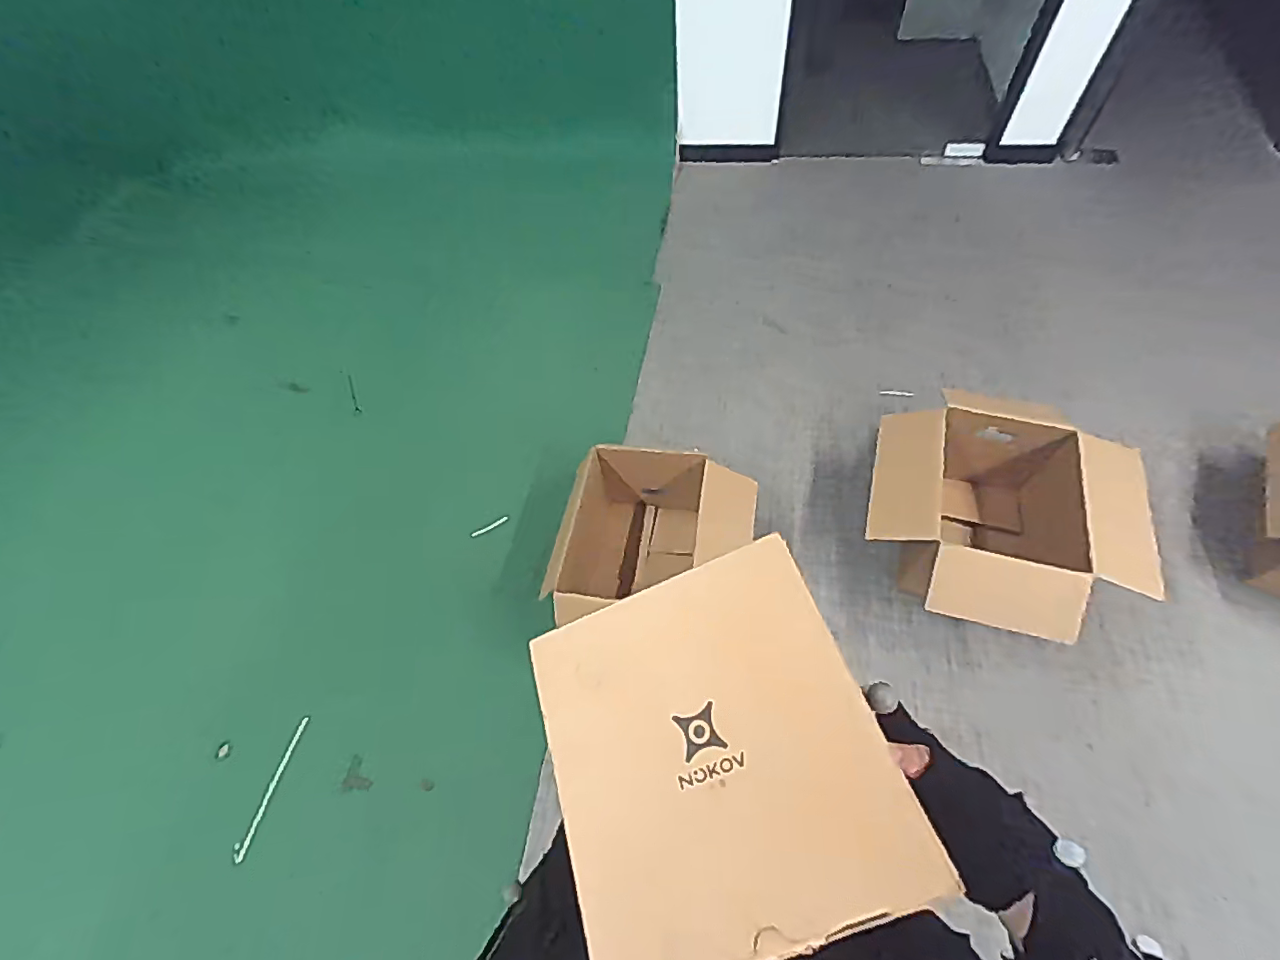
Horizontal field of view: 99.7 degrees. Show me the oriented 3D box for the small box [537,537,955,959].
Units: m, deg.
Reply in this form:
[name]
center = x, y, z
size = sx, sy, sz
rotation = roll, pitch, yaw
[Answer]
[small box]
center = 0.059, 0.168, 0.347
size = 0.168, 0.176, 0.179
rotation = -26, 59, 7
